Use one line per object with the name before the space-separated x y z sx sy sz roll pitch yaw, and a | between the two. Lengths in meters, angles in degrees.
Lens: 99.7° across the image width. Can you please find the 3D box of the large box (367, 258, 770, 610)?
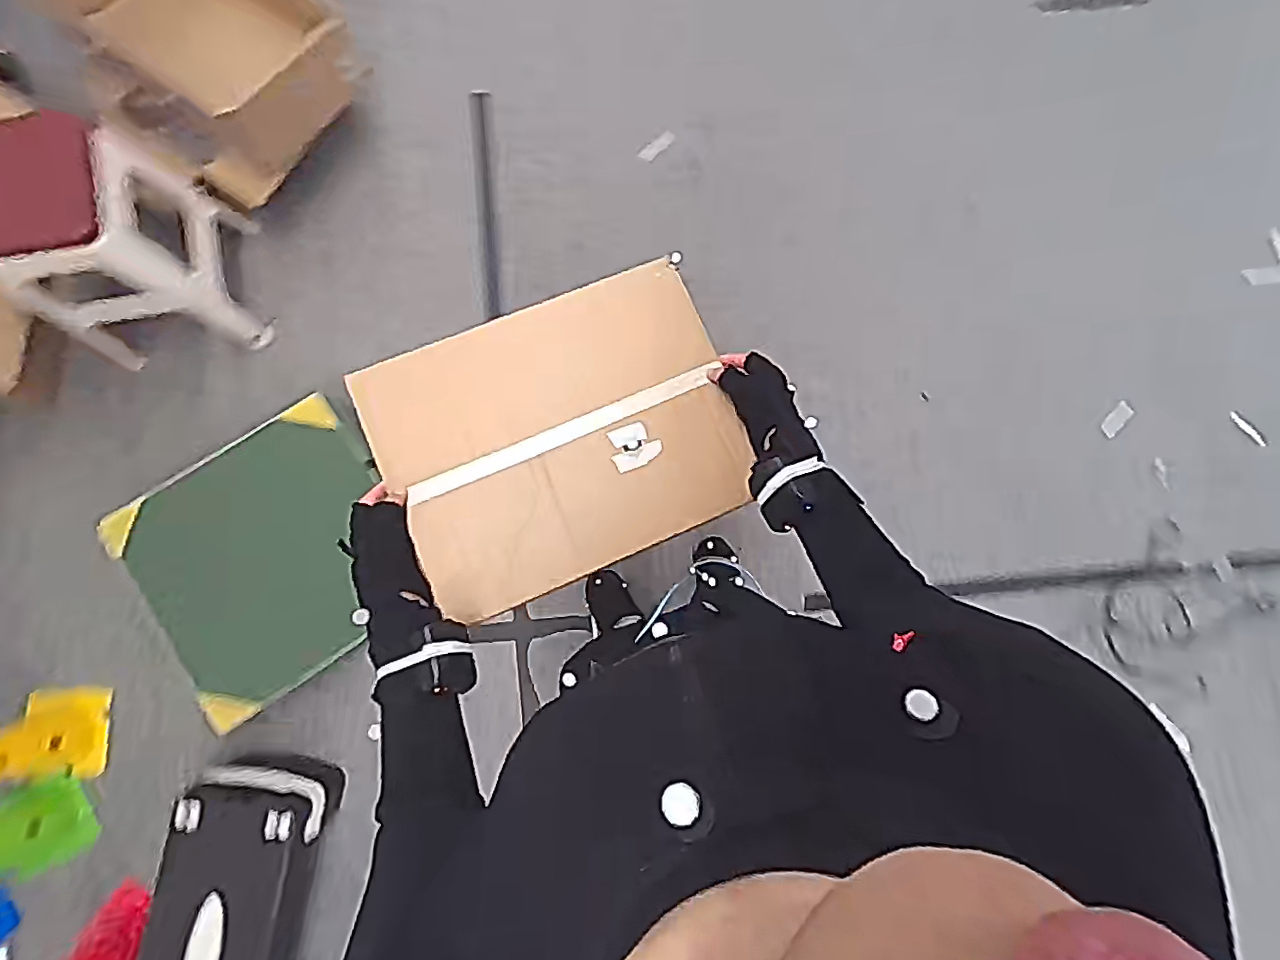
large box | -0.093 -0.044 0.782 0.408 0.320 0.320 -21 85 -7
